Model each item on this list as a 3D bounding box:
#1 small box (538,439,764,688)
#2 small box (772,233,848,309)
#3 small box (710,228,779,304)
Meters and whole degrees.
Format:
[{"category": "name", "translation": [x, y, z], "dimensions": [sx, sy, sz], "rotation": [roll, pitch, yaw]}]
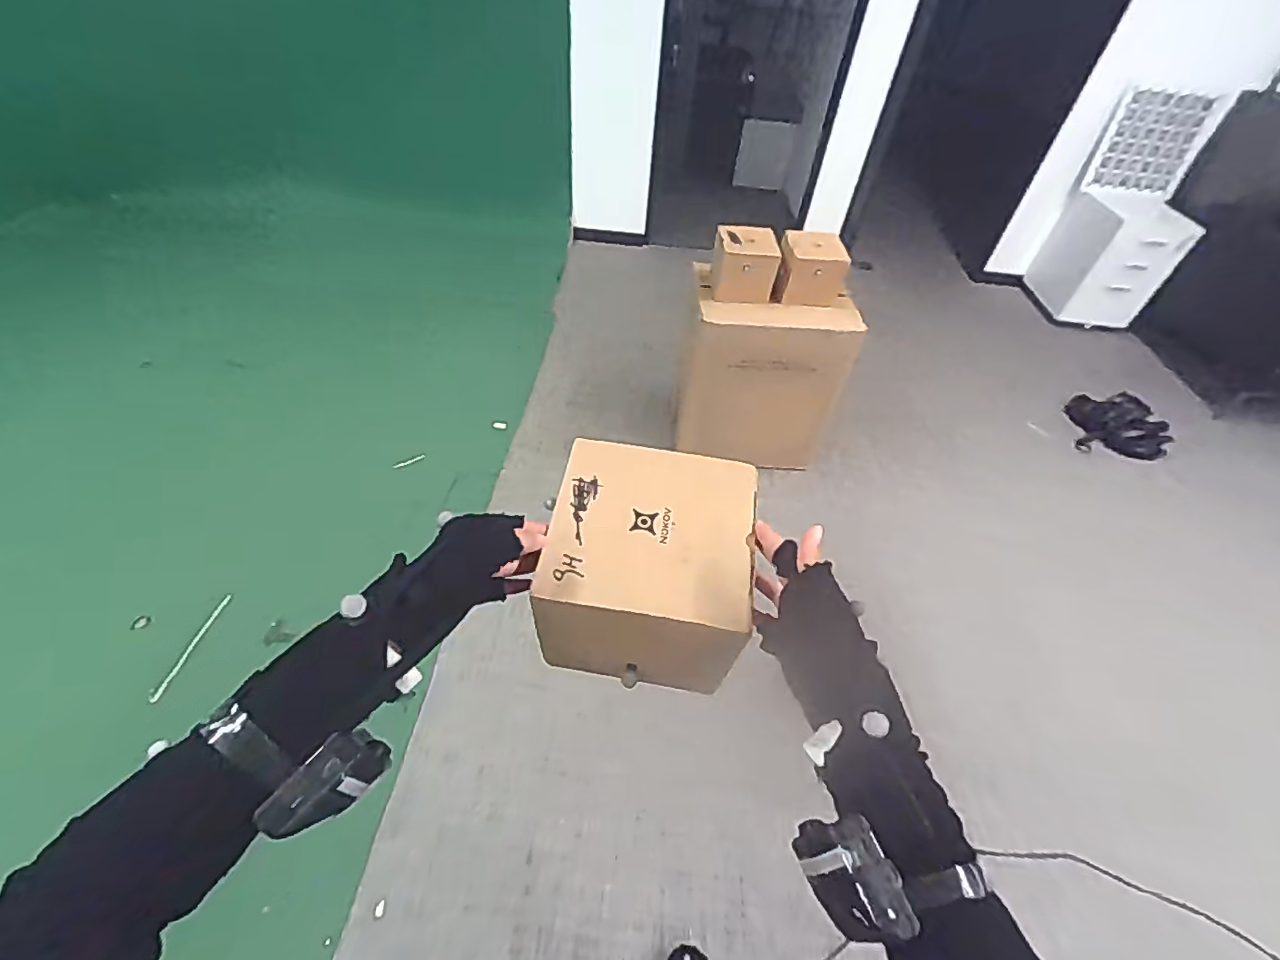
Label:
[{"category": "small box", "translation": [0.010, 0.088, 0.527], "dimensions": [0.179, 0.176, 0.168], "rotation": [11, 52, 2]}, {"category": "small box", "translation": [0.540, -0.677, 1.757], "dimensions": [0.179, 0.176, 0.168], "rotation": [1, 53, -8]}, {"category": "small box", "translation": [0.327, -0.684, 1.736], "dimensions": [0.179, 0.176, 0.168], "rotation": [2, 52, -6]}]
